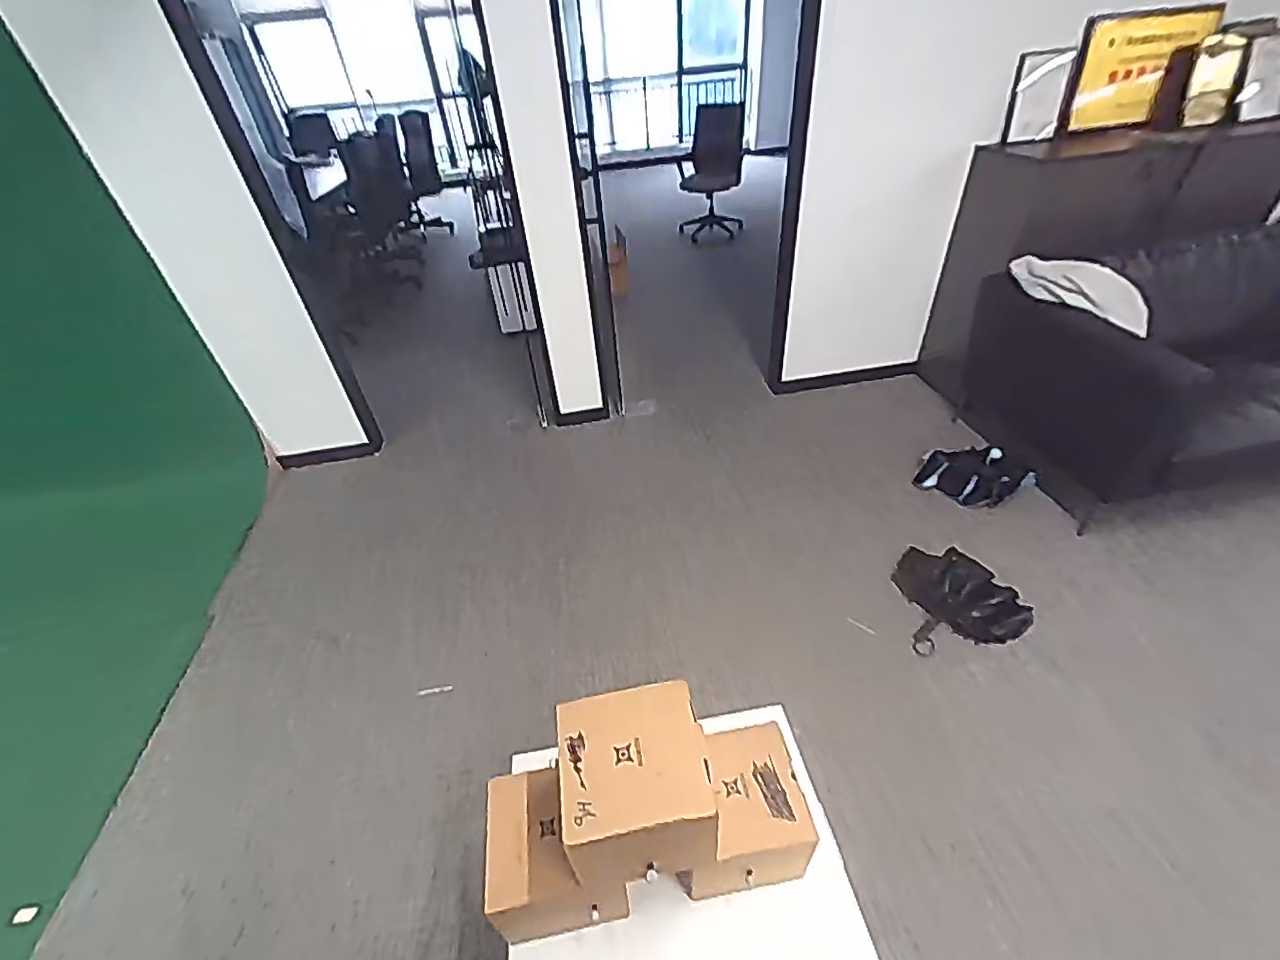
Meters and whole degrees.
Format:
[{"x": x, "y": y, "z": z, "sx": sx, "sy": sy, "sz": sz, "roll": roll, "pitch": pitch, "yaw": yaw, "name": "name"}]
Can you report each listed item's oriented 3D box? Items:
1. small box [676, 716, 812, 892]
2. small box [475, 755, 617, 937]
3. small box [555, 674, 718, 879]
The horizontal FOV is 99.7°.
[{"x": 0.132, "y": 0.484, "z": 0.809, "sx": 0.179, "sy": 0.176, "sz": 0.168, "roll": -8, "pitch": 40, "yaw": -6, "name": "small box"}, {"x": -0.130, "y": 0.521, "z": 0.779, "sx": 0.179, "sy": 0.176, "sz": 0.168, "roll": -9, "pitch": 39, "yaw": -8, "name": "small box"}, {"x": -0.011, "y": 0.377, "z": 0.691, "sx": 0.179, "sy": 0.176, "sz": 0.168, "roll": -7, "pitch": 39, "yaw": -6, "name": "small box"}]
